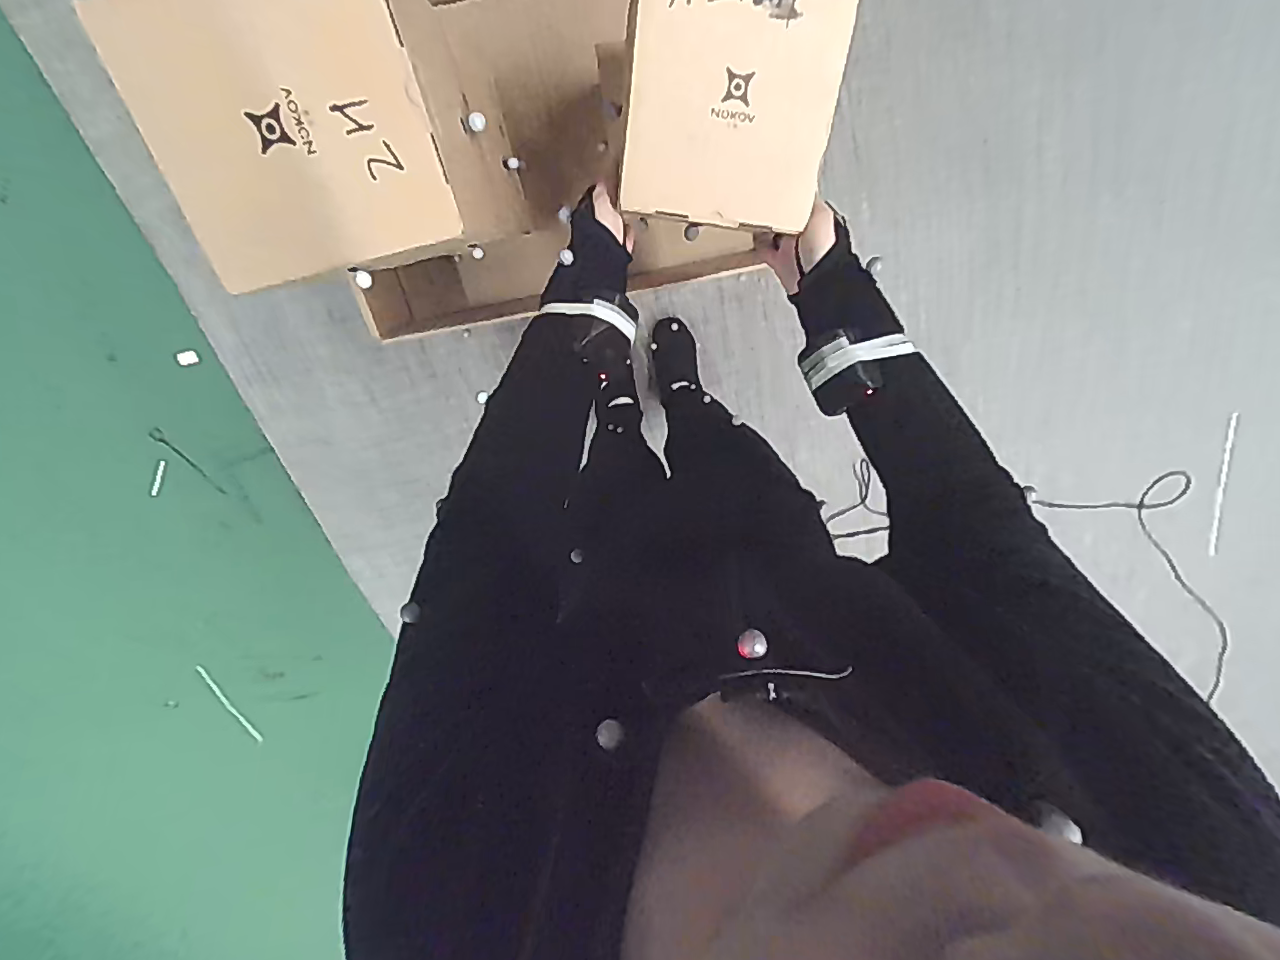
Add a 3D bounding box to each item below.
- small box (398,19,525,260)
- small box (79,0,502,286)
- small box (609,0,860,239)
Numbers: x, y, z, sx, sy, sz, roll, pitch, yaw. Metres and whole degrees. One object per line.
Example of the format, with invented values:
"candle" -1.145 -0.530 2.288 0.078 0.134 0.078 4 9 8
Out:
"small box" -0.233 -0.326 0.556 0.179 0.176 0.168 -12 115 2
"small box" -0.223 -0.254 0.408 0.179 0.176 0.168 -13 116 2
"small box" 0.064 -0.331 0.493 0.168 0.176 0.179 5 116 -9
